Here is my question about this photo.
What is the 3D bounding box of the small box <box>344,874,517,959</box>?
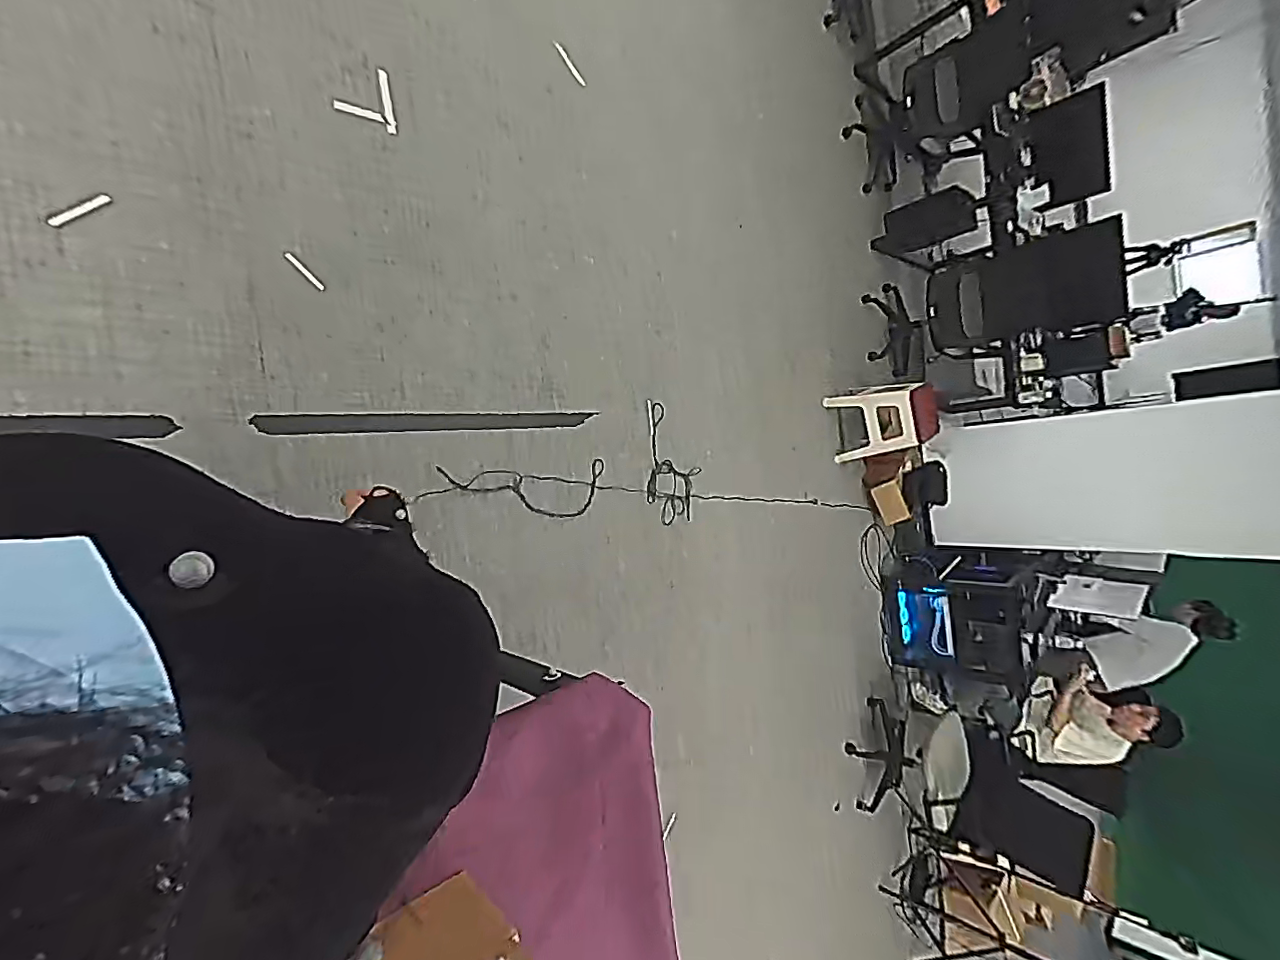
[{"bbox_3d":[-0.271,0.672,0.702,0.179,0.176,0.168,-7,93,-42],"label":"small box"}]
